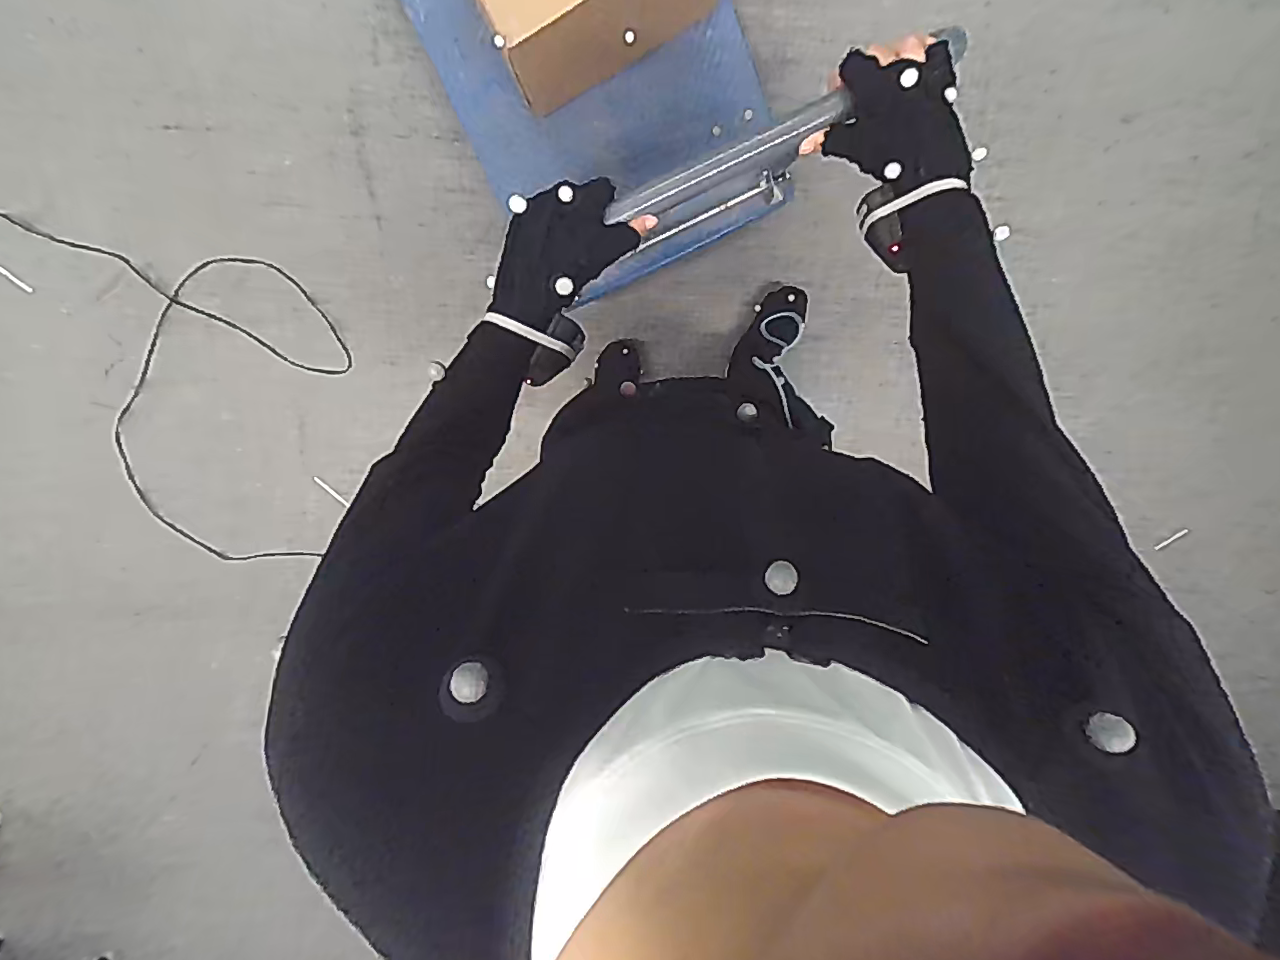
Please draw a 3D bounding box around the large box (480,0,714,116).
[{"bbox_3d":[-0.093,-0.908,0.893,0.408,0.320,0.320,-29,105,8],"label":"large box"}]
